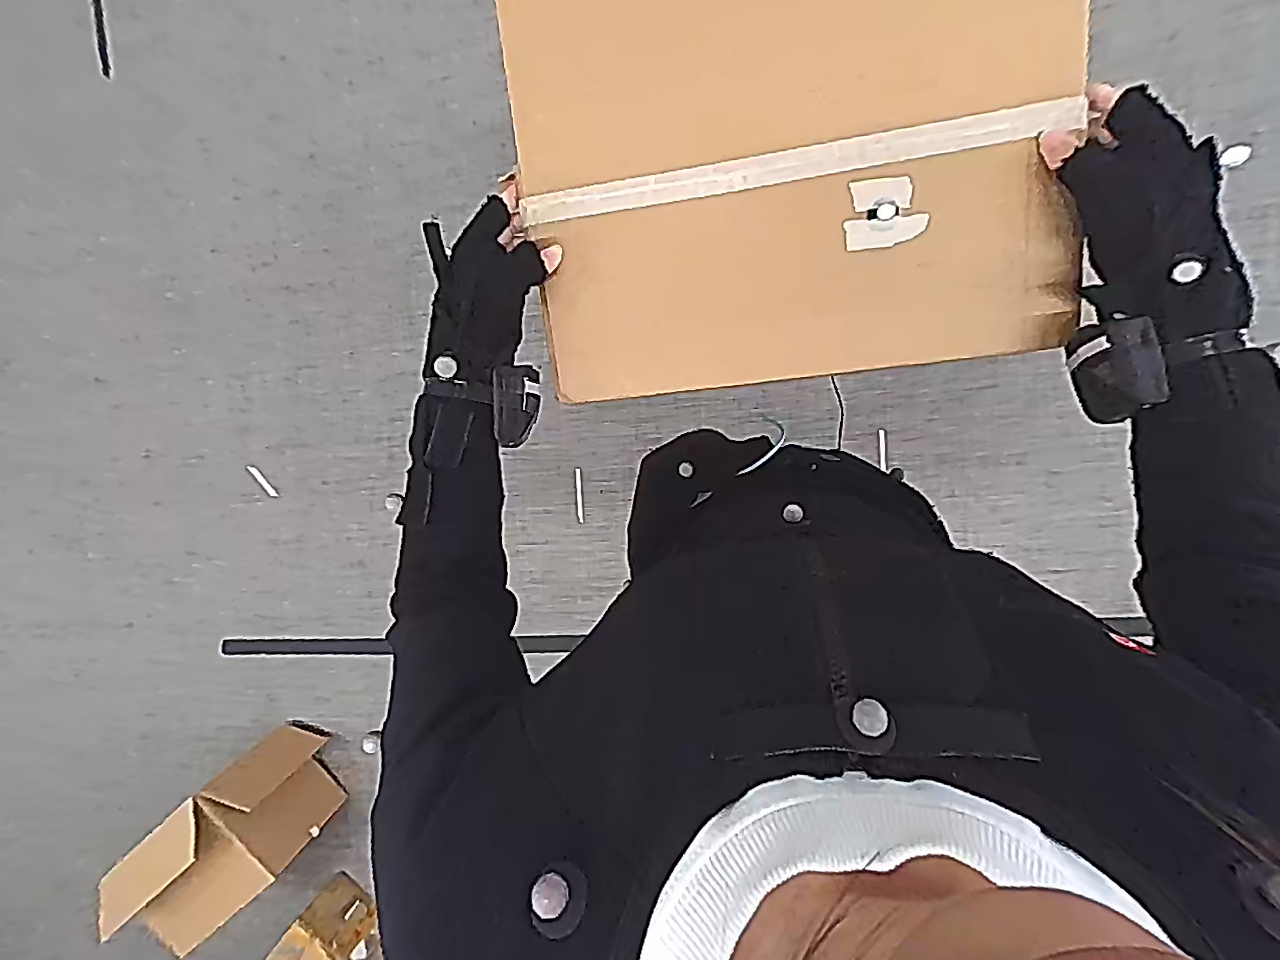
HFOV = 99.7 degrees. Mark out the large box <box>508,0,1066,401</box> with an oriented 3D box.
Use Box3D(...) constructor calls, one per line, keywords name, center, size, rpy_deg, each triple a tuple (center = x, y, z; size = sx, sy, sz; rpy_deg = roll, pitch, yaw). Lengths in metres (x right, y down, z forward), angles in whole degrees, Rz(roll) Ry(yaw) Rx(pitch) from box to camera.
Box3D(name="large box", center=(0.126, -0.270, 0.565), size=(0.408, 0.320, 0.320), rpy_deg=(-6, 102, 8))
